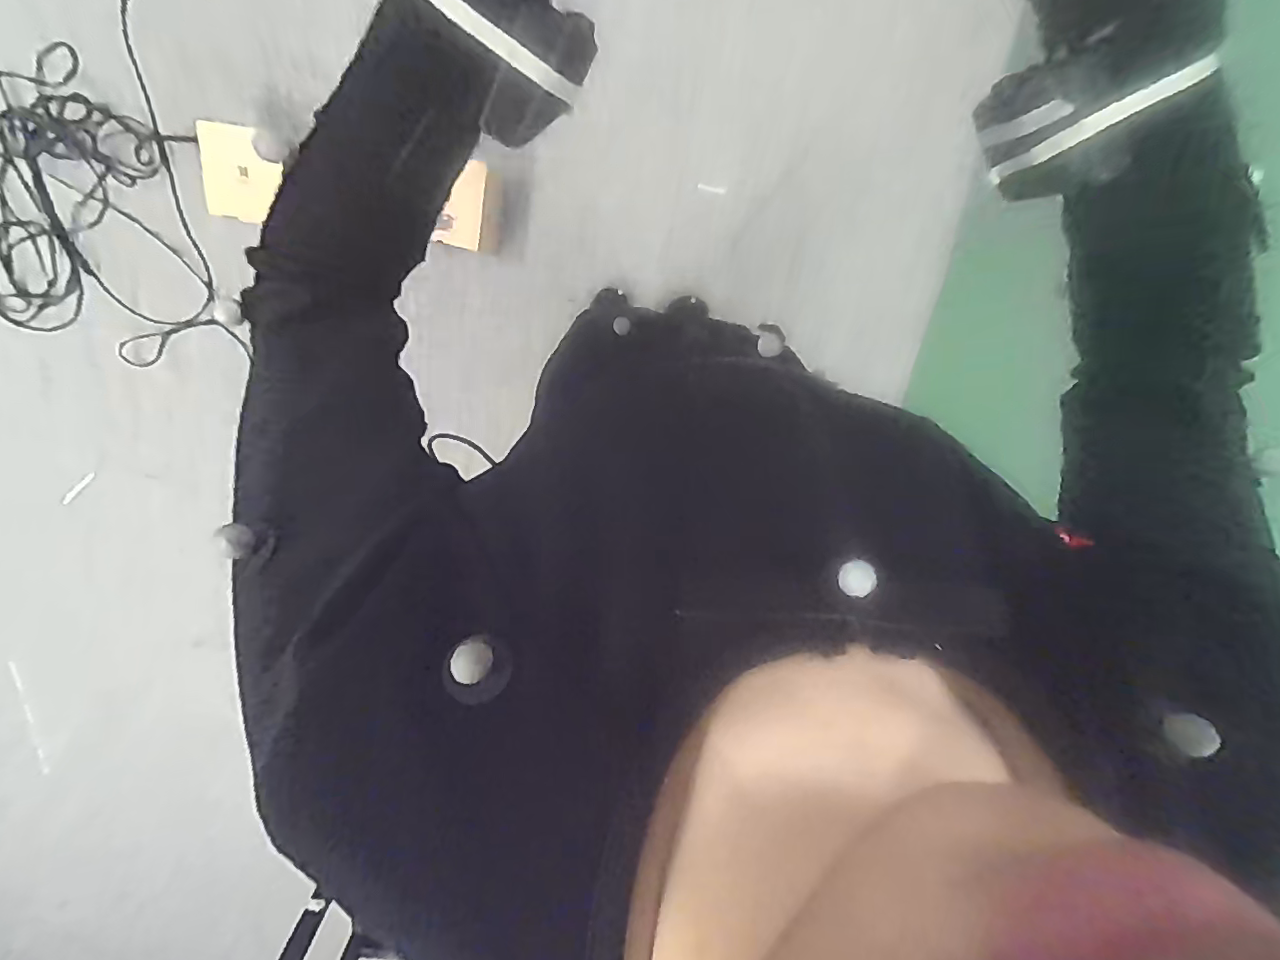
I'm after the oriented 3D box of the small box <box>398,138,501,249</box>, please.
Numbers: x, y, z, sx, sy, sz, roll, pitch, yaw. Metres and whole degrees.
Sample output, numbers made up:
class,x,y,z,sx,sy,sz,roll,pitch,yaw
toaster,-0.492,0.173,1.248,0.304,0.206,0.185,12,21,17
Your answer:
class,x,y,z,sx,sy,sz,roll,pitch,yaw
small box,-0.416,-0.623,1.201,0.168,0.176,0.179,11,109,-5

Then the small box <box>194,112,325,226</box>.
class,x,y,z,sx,sy,sz,roll,pitch,yaw
small box,-0.817,-0.666,1.178,0.168,0.176,0.179,6,110,-3
